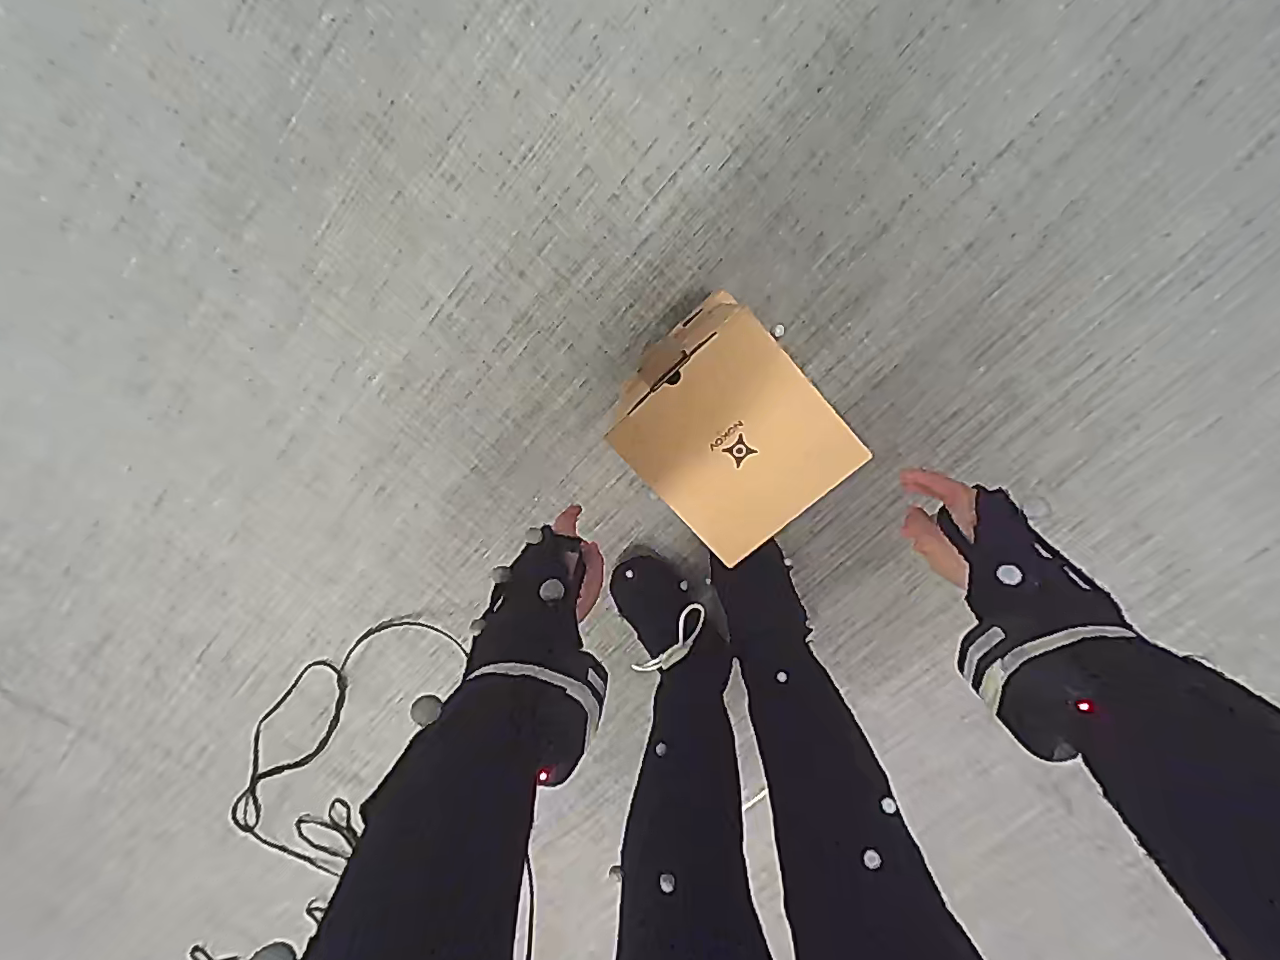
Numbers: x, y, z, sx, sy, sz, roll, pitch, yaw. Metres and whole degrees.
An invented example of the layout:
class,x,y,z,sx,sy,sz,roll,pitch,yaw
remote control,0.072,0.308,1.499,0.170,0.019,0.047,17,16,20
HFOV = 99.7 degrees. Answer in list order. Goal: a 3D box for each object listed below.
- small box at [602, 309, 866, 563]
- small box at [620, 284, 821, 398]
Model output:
class,x,y,z,sx,sy,sz,roll,pitch,yaw
small box,0.088,-0.056,0.549,0.168,0.176,0.179,-41,101,15
small box,0.096,-0.124,0.698,0.168,0.176,0.179,-42,100,14
